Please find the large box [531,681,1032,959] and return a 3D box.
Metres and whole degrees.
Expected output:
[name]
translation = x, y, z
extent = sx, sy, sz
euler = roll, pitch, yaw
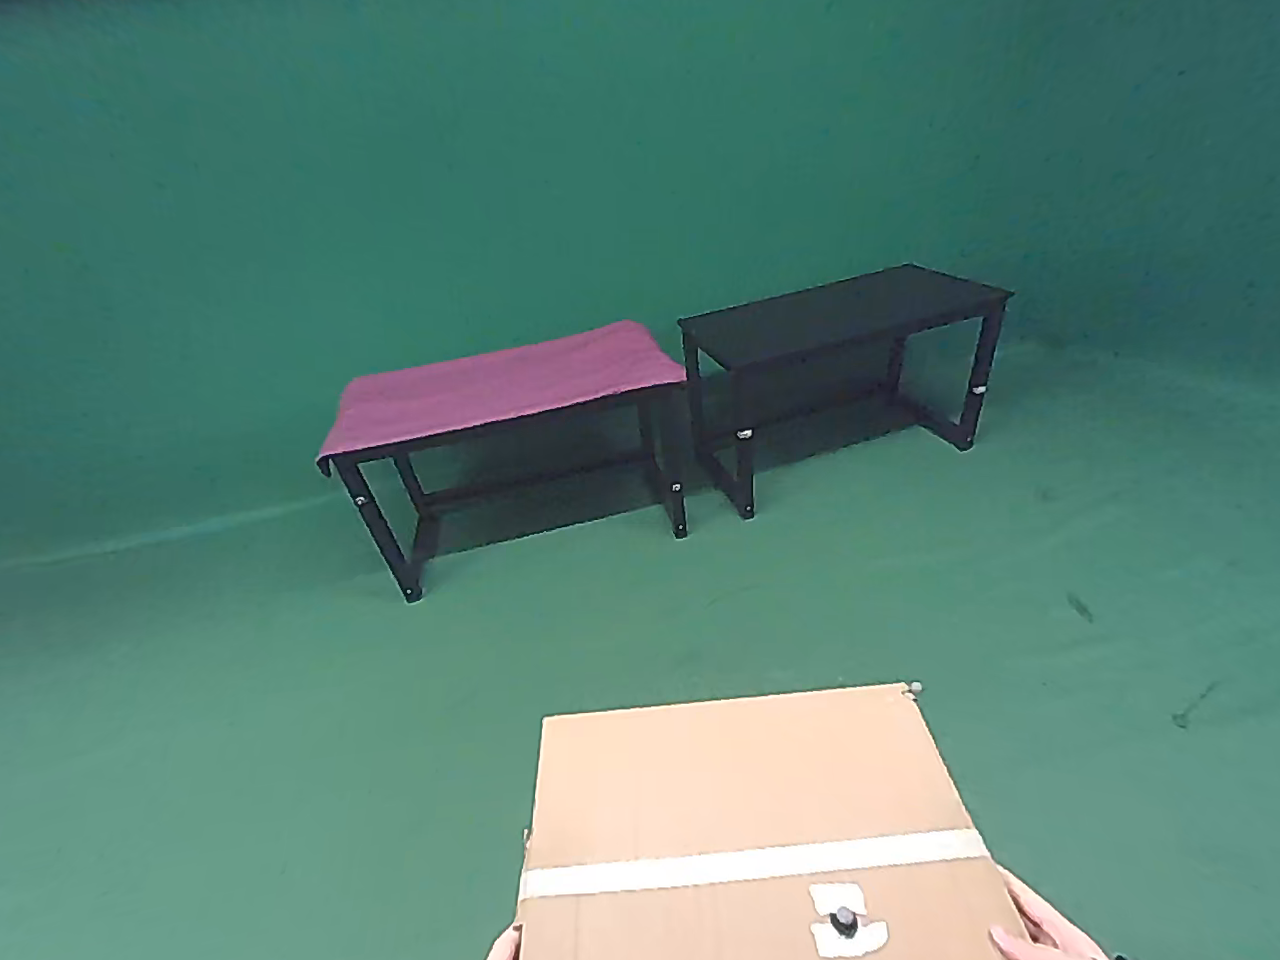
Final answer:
[large box]
translation = 0.115, 0.457, 0.580
extent = 0.408, 0.320, 0.320
euler = -6, 38, 1
